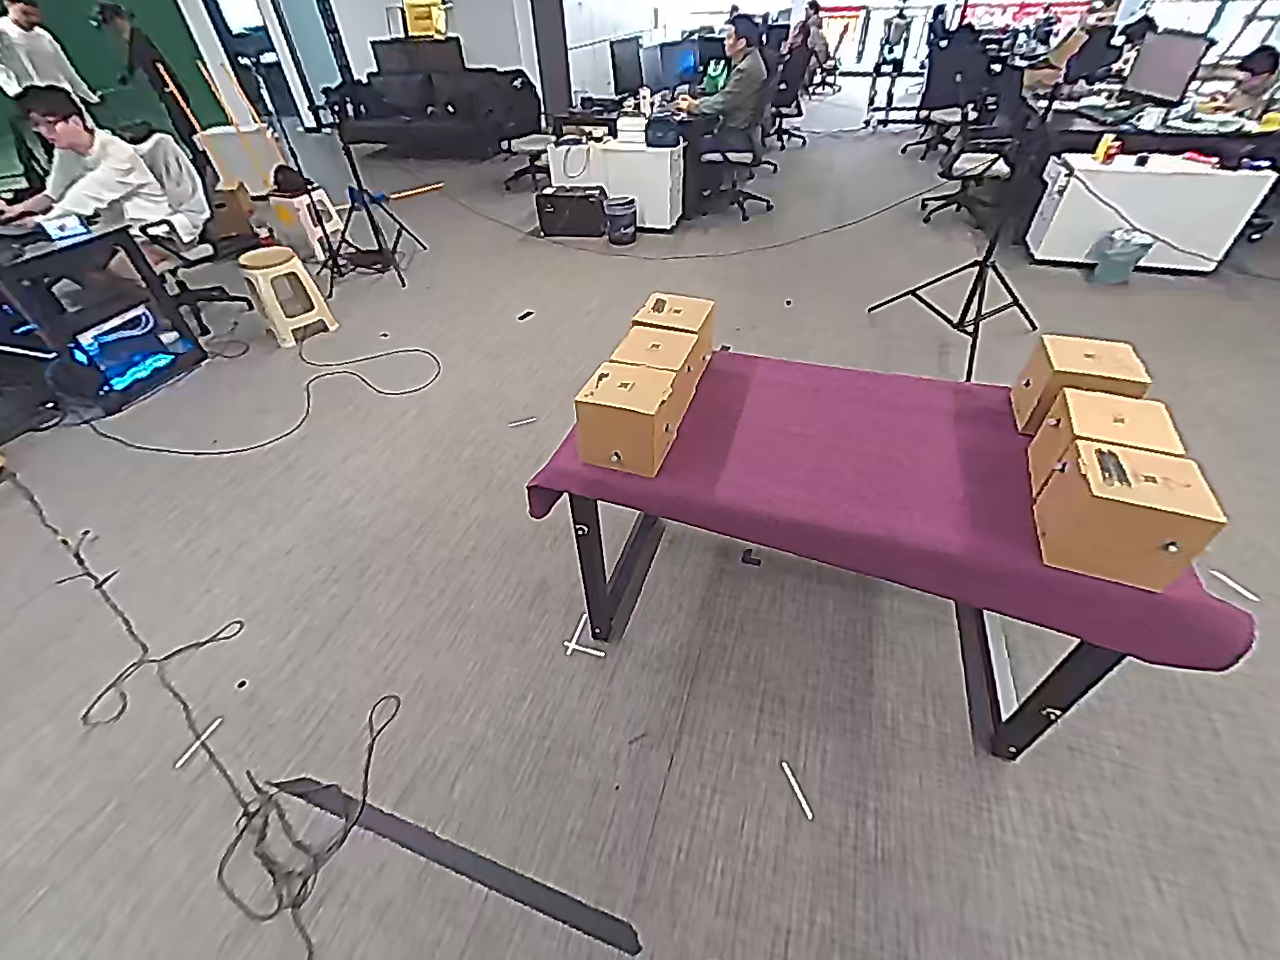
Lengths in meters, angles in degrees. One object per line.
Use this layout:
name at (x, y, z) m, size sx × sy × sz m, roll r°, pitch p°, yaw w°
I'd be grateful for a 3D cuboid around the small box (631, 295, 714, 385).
small box at (0.087, -0.372, 1.443) m, size 0.179 × 0.176 × 0.168 m, roll 14°, pitch 47°, yaw 16°

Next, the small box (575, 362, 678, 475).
small box at (-0.025, -0.133, 1.188) m, size 0.179 × 0.176 × 0.168 m, roll 13°, pitch 44°, yaw 15°

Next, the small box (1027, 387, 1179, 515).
small box at (0.894, -0.057, 1.066) m, size 0.168 × 0.176 × 0.179 m, roll 15°, pitch 44°, yaw 19°

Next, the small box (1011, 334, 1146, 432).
small box at (0.966, -0.206, 1.216) m, size 0.179 × 0.176 × 0.168 m, roll 13°, pitch 46°, yaw 15°
